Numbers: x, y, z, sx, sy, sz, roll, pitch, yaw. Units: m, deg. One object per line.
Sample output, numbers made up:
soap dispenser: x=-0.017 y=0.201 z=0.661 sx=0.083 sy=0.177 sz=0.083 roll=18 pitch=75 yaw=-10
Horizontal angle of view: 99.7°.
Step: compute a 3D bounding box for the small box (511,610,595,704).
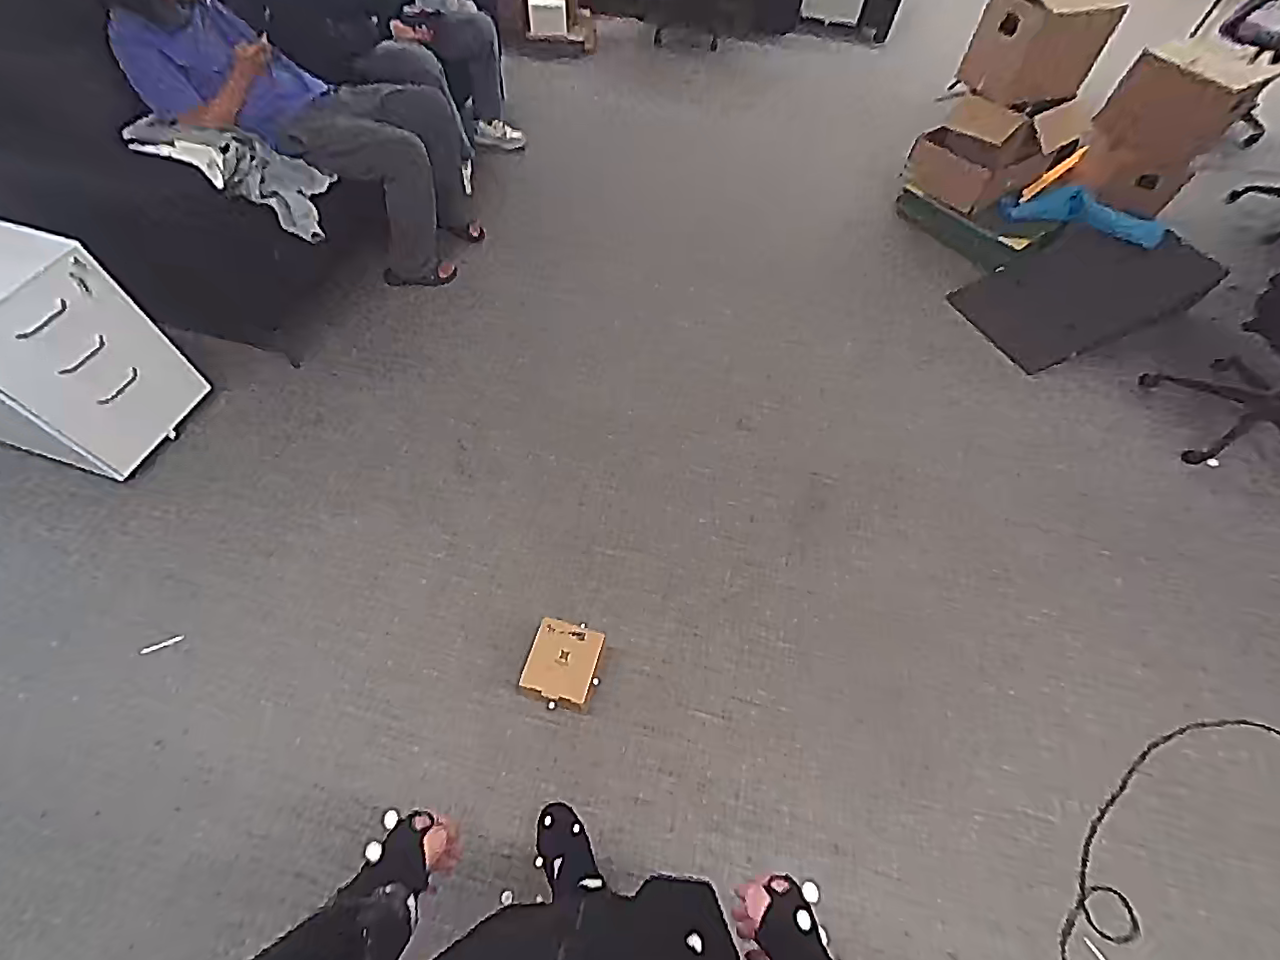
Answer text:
small box: x=-0.215 y=0.465 z=1.405 sx=0.168 sy=0.176 sz=0.179 roll=13 pitch=59 yaw=5
